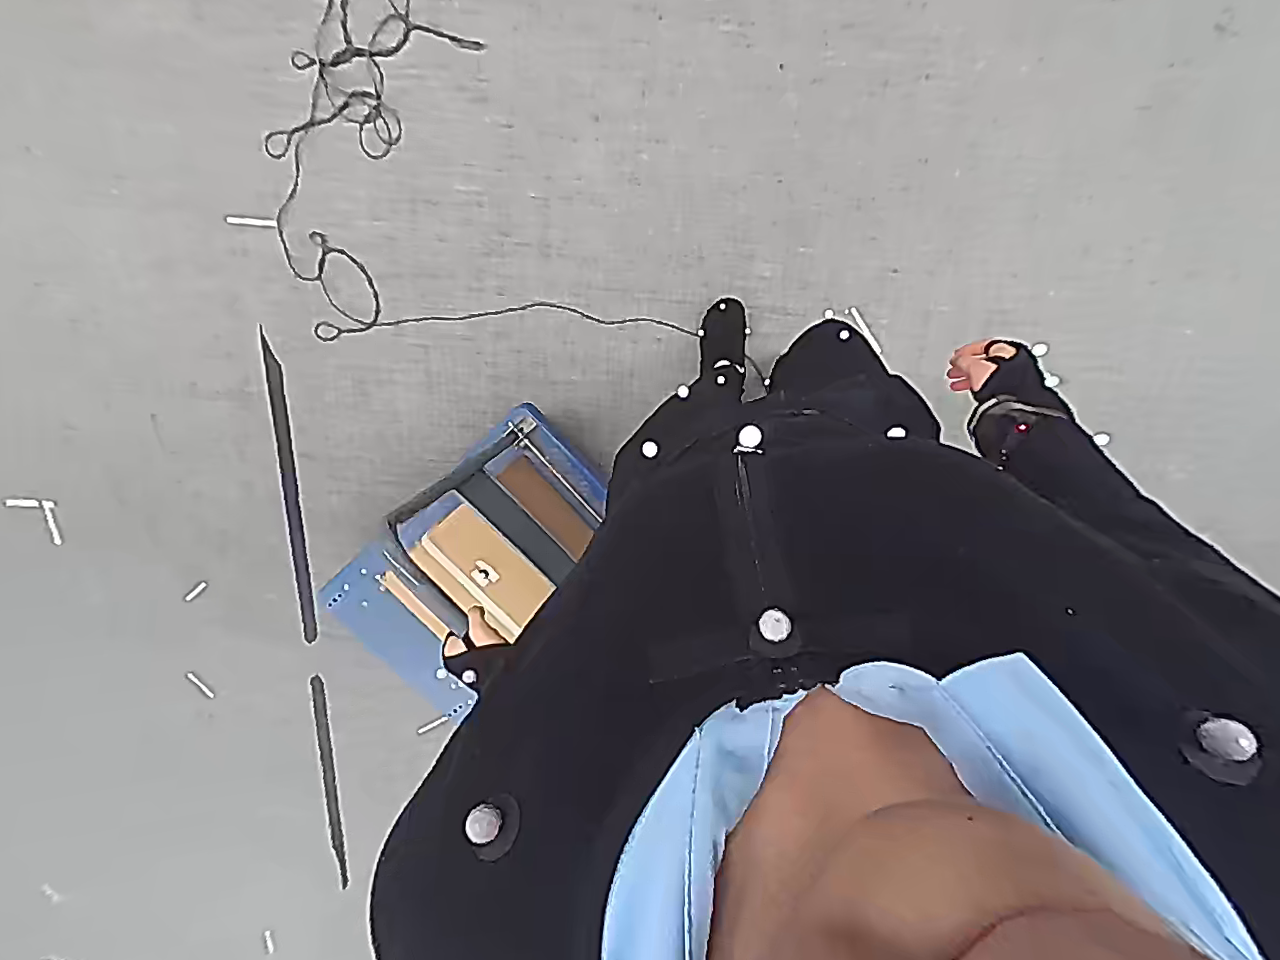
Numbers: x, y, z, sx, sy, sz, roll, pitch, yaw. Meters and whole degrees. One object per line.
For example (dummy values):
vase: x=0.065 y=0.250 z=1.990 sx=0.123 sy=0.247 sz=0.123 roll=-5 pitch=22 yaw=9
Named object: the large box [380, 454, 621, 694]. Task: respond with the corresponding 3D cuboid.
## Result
large box: x=-0.304 y=0.211 z=1.295 sx=0.320 sy=0.320 sz=0.408 roll=-39 pitch=100 yaw=15
